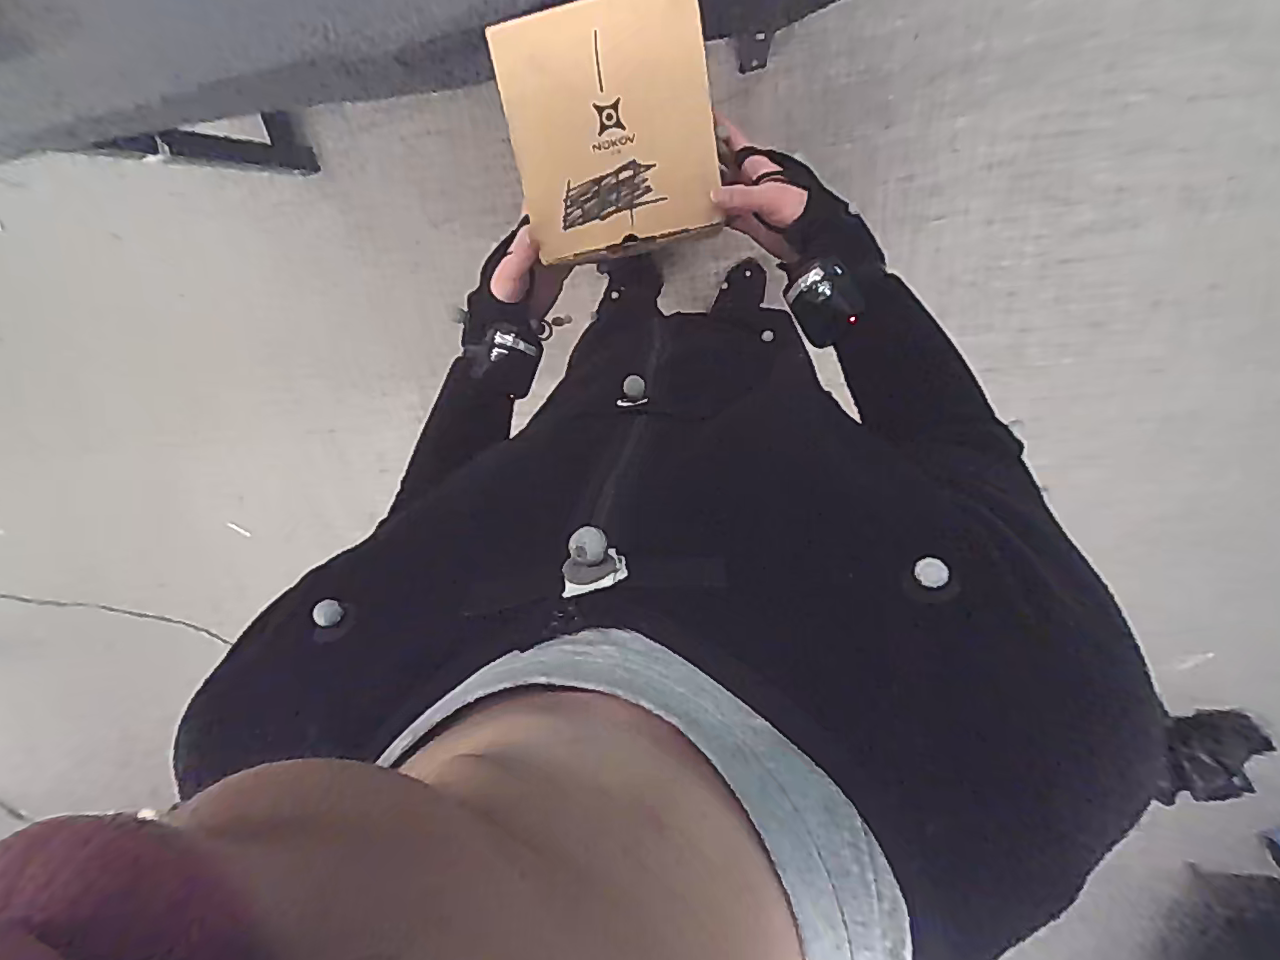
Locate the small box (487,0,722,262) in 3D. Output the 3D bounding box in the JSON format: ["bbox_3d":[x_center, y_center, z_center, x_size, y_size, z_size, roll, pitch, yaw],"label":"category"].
[{"bbox_3d":[-0.016,-0.311,0.506,0.168,0.176,0.179,-8,110,9],"label":"small box"}]
